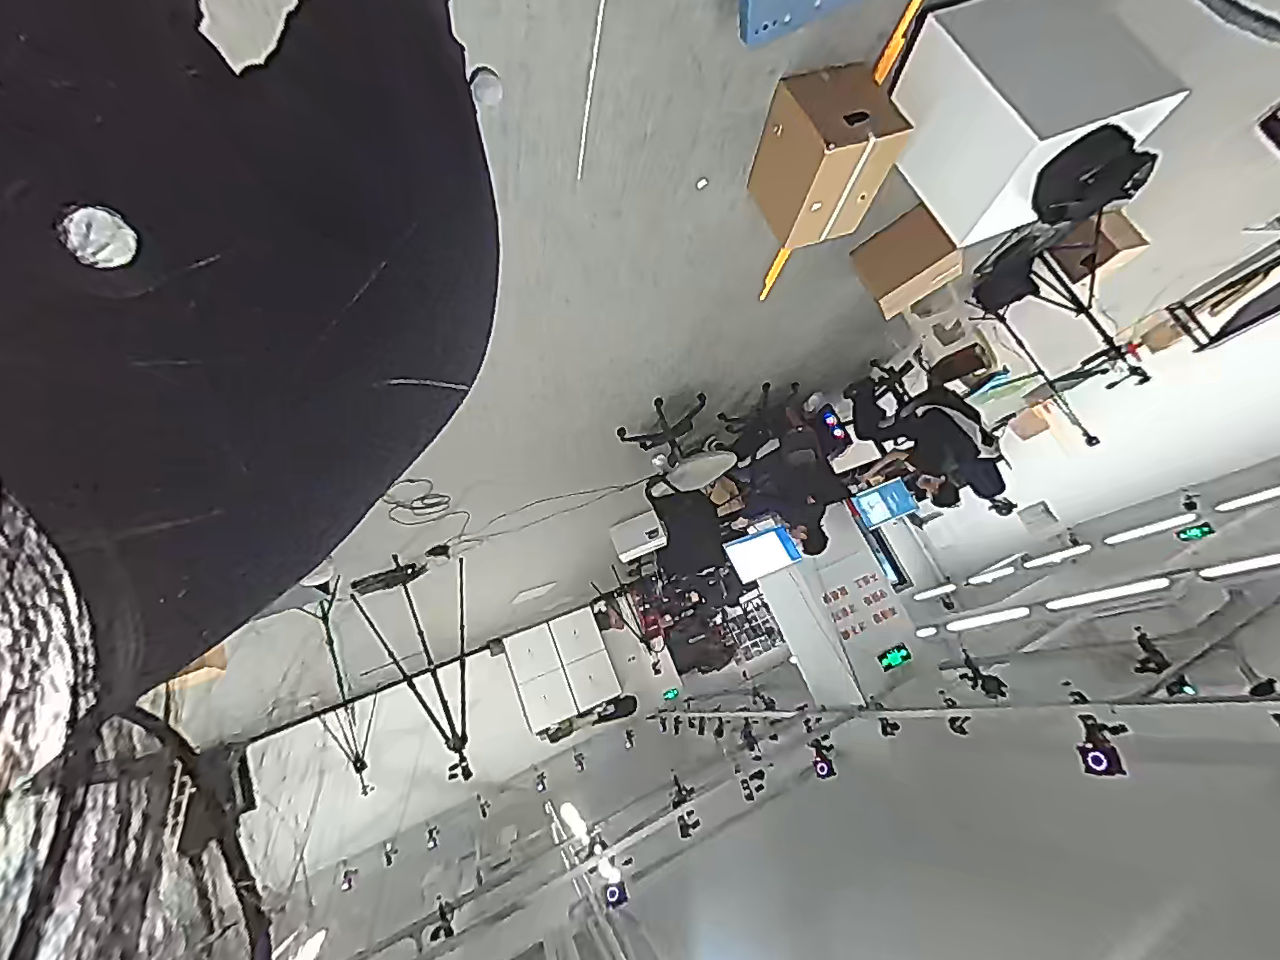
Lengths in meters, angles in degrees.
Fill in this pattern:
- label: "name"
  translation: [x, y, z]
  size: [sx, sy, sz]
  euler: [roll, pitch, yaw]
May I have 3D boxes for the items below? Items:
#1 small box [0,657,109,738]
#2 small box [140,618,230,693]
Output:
- label: "small box"
  translation: [-1.734, 0.641, 1.600]
  size: [0.168, 0.176, 0.179]
  euler: [-17, 162, -24]
- label: "small box"
  translation: [-1.455, 0.561, 1.729]
  size: [0.179, 0.176, 0.168]
  euler: [-16, 161, -22]
